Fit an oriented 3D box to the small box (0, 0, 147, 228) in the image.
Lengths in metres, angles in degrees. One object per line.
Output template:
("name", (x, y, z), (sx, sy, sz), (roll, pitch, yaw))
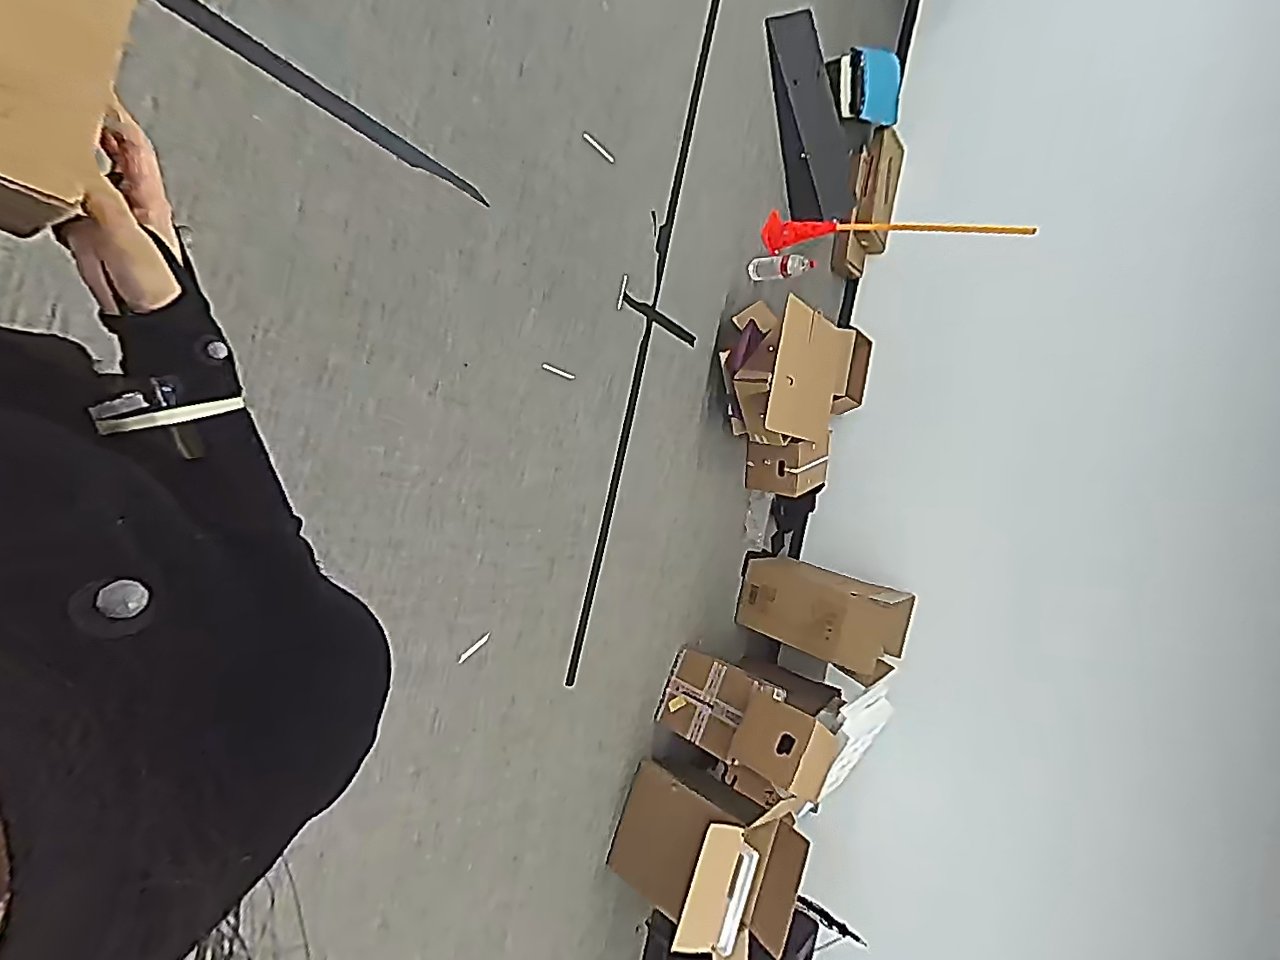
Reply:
("small box", (-0.369, -0.243, 0.257), (0.168, 0.176, 0.179), (15, 89, -56))
